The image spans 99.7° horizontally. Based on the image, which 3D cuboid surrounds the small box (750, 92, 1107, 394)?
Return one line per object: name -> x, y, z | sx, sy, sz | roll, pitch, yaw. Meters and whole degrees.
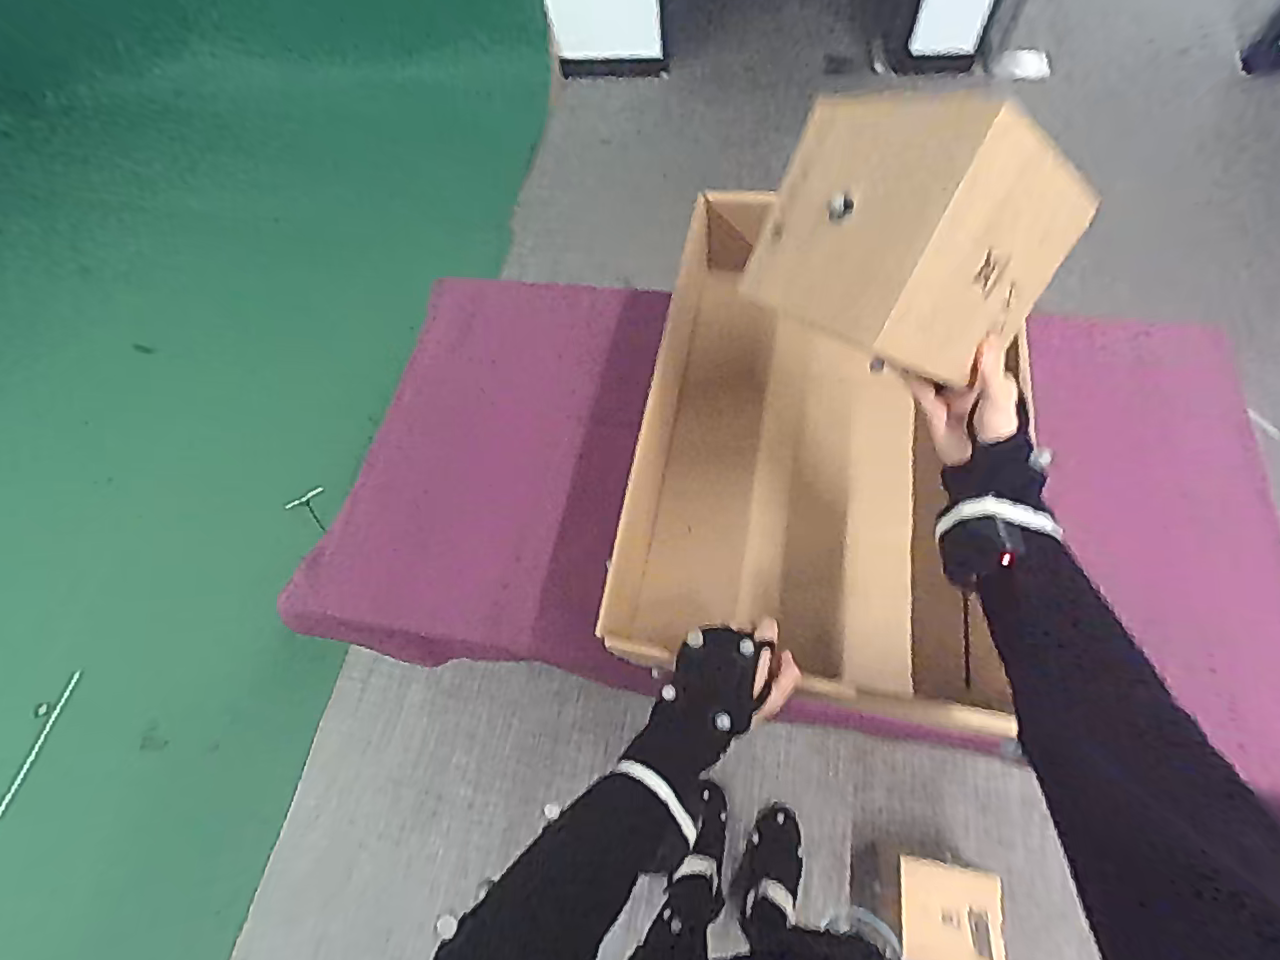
small box -> 0.226, -0.193, 0.457 | 0.179, 0.168, 0.176 | 5, 29, -36
